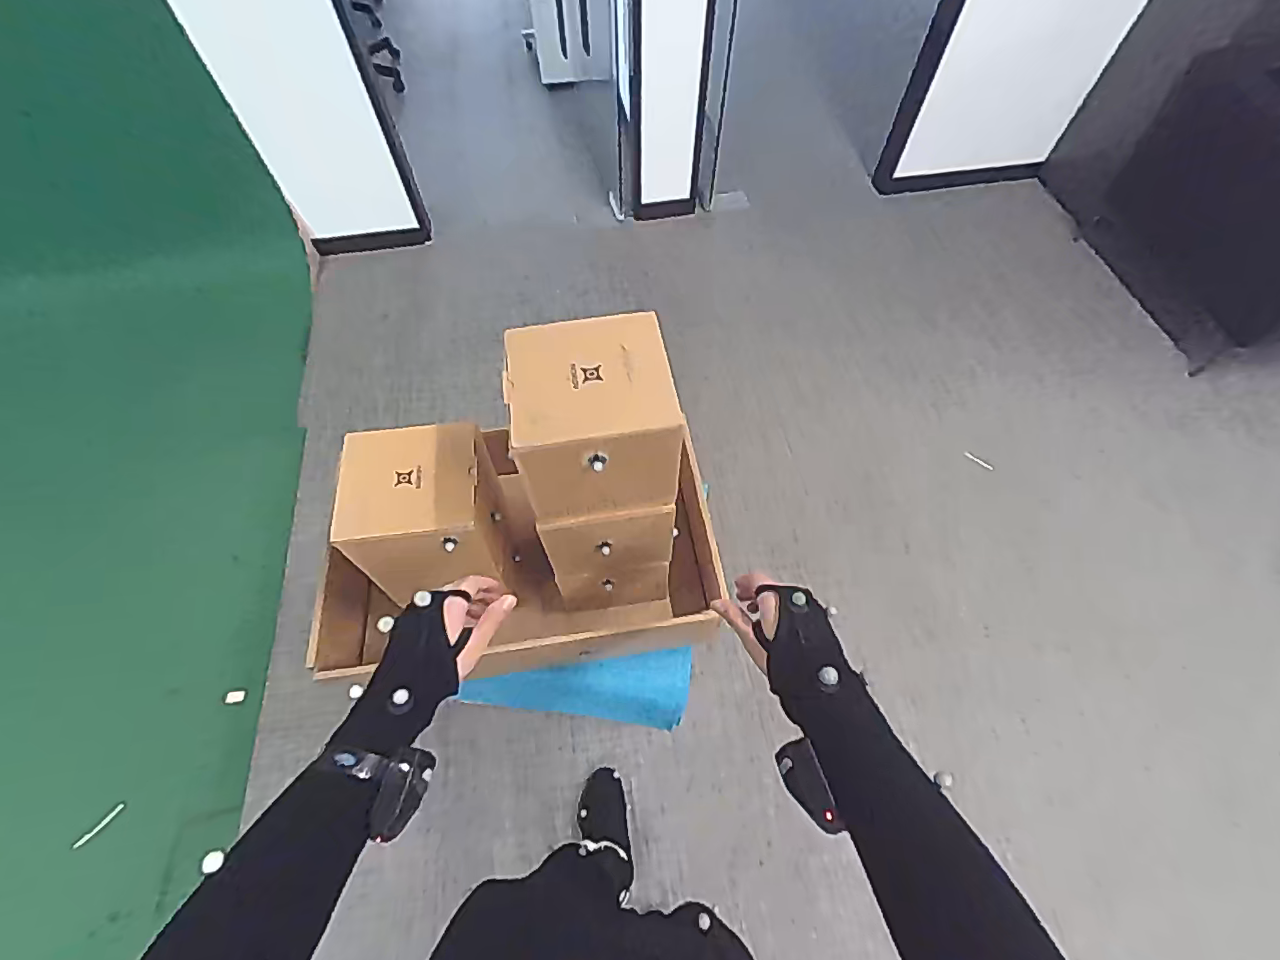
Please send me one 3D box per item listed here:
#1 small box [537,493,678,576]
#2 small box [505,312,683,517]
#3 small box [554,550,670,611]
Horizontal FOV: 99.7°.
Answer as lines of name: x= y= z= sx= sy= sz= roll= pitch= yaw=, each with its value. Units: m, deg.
small box: x=-0.048 y=0.022 z=0.770 sx=0.179 sy=0.176 sz=0.168 roll=-9 pitch=58 yaw=-3
small box: x=-0.051 y=-0.069 z=0.635 sx=0.179 sy=0.176 sz=0.168 roll=-8 pitch=59 yaw=-4
small box: x=-0.046 y=0.110 z=0.908 sx=0.179 sy=0.176 sz=0.168 roll=-7 pitch=59 yaw=-3
